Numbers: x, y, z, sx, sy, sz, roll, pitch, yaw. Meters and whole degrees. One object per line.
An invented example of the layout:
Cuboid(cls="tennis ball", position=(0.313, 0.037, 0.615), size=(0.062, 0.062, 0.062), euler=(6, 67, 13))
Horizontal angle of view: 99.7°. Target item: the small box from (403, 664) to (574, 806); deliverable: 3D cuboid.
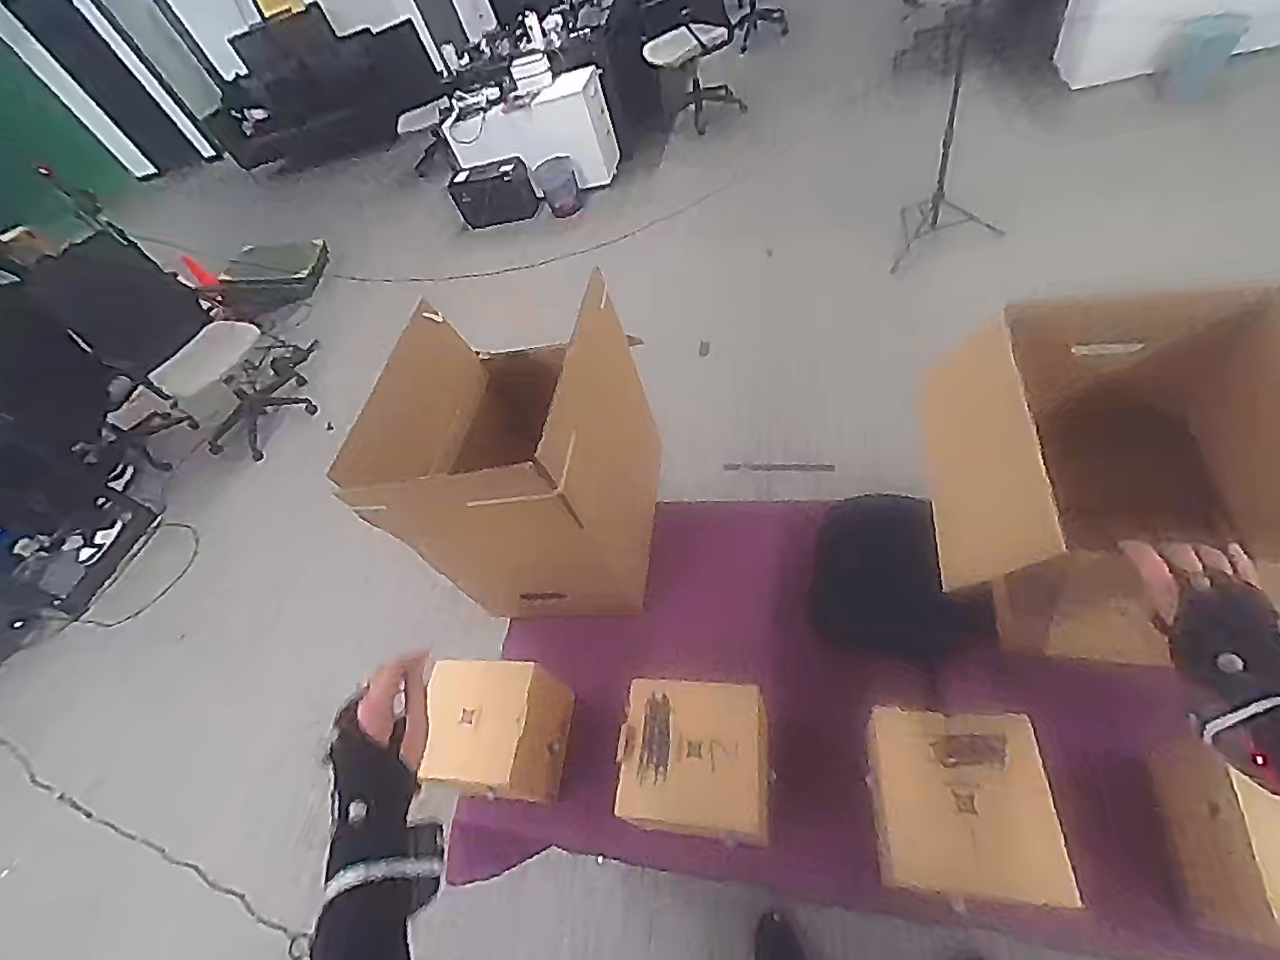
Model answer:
Cuboid(cls="small box", position=(-0.222, 0.398, 0.843), size=(0.179, 0.176, 0.168), euler=(-4, 52, 15))

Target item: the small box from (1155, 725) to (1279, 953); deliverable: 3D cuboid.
Cuboid(cls="small box", position=(0.671, 0.373, 0.543), size=(0.168, 0.176, 0.179), euler=(2, 54, 22))

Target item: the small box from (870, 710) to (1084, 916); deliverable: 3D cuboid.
Cuboid(cls="small box", position=(0.372, 0.389, 0.638), size=(0.168, 0.176, 0.179), euler=(-4, 53, 17))
